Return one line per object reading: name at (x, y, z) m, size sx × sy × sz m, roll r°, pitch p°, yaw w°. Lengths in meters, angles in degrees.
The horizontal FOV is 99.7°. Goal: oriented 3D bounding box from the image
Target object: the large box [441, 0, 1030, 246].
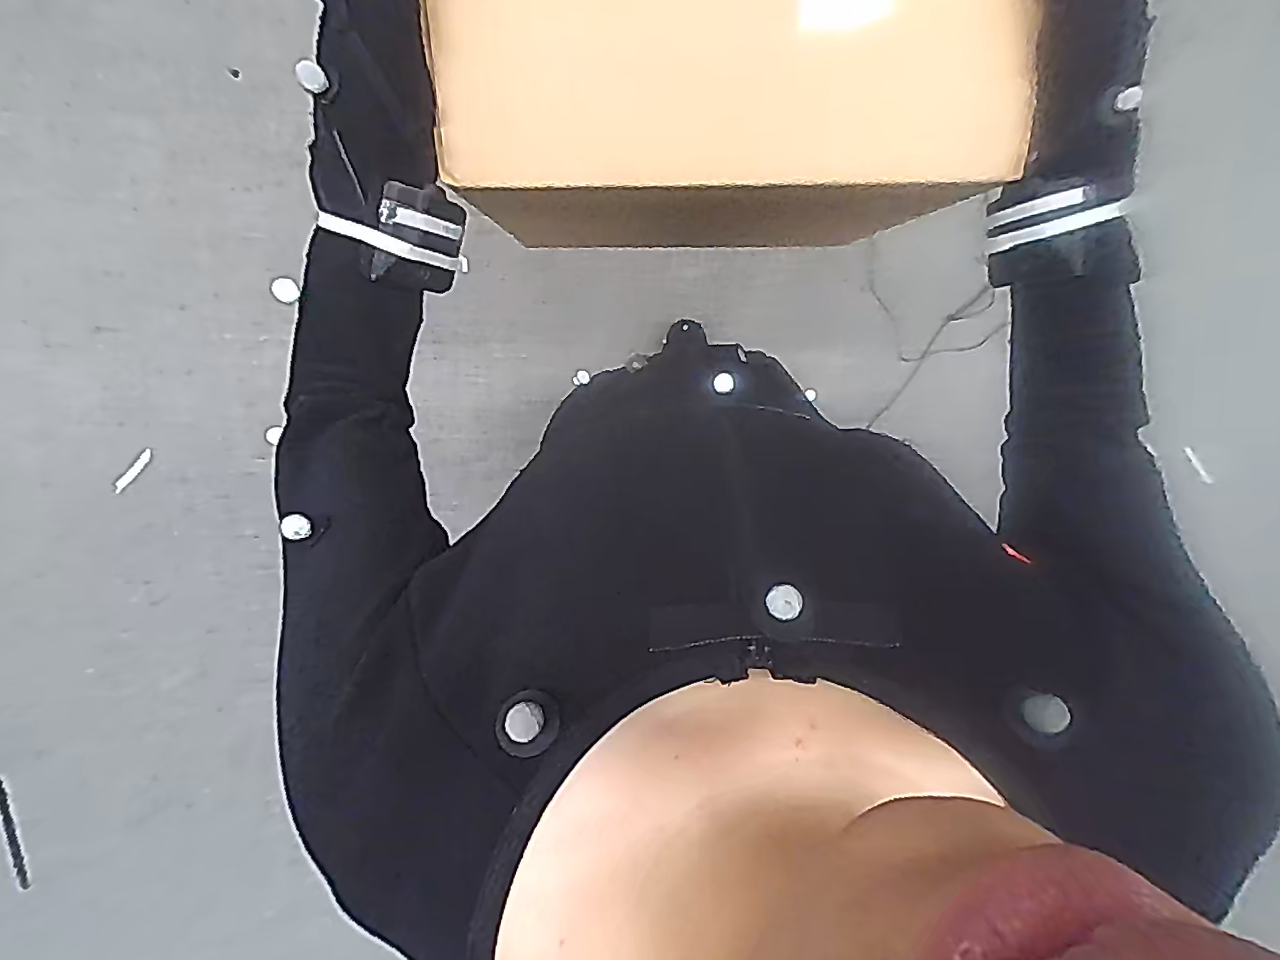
large box at (0.058, -0.407, 0.491) m, size 0.408 × 0.320 × 0.320 m, roll -2°, pitch 106°, yaw -2°
